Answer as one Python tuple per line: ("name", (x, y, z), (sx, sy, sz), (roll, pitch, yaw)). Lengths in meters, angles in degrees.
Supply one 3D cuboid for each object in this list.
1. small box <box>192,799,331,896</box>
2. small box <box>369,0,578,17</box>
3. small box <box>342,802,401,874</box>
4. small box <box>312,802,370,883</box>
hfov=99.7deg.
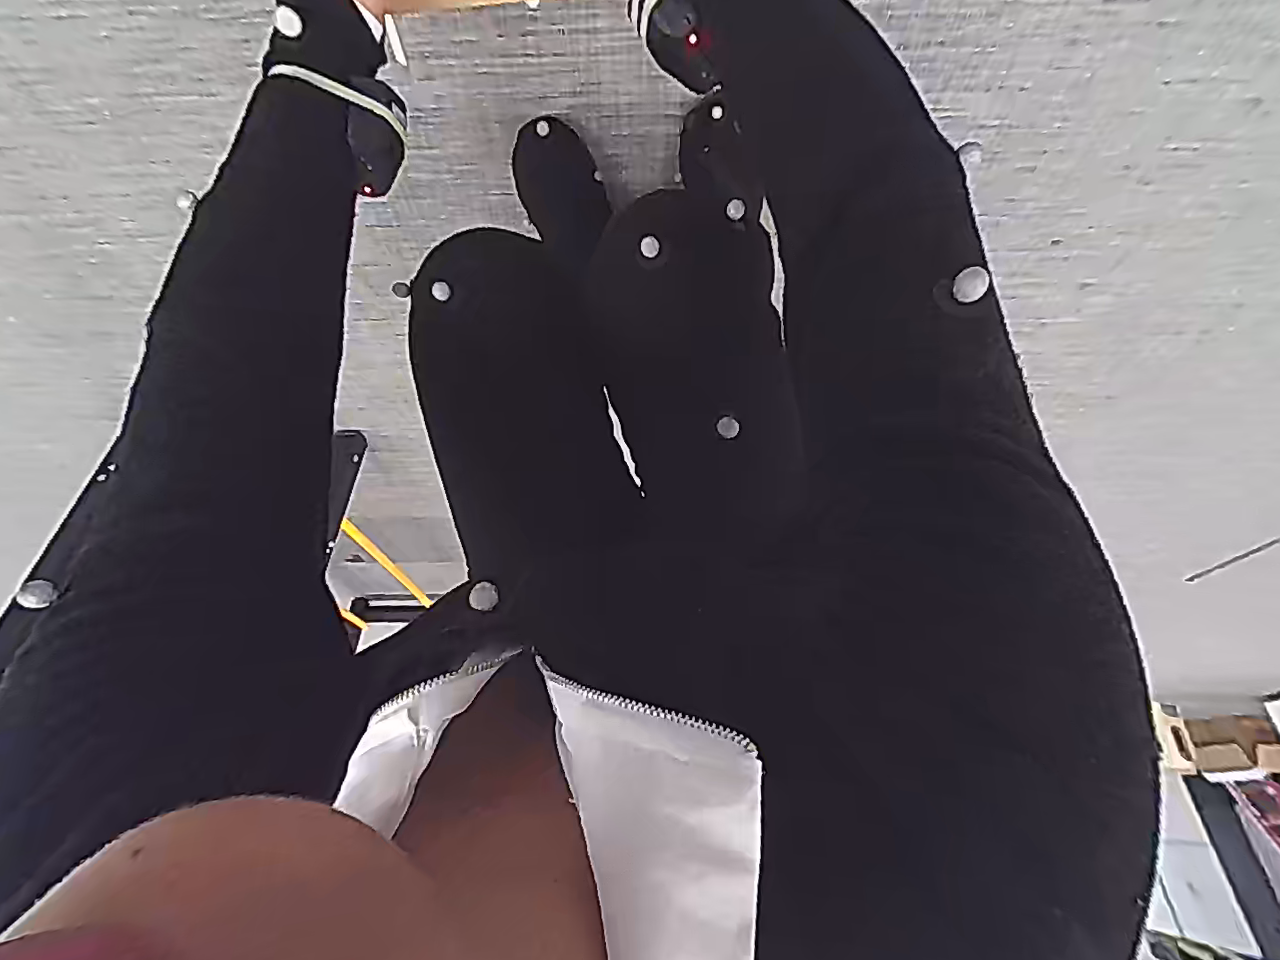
("small box", (-0.847, 0.829, 1.231), (0.179, 0.176, 0.168), (-1, 150, 2))
("small box", (-0.141, -0.501, 0.420), (0.179, 0.176, 0.168), (-2, 149, 2))
("small box", (-0.847, 1.077, 1.631), (0.168, 0.176, 0.179), (0, 148, 1))
("small box", (-0.841, 0.955, 1.434), (0.179, 0.176, 0.168), (0, 148, 1))
